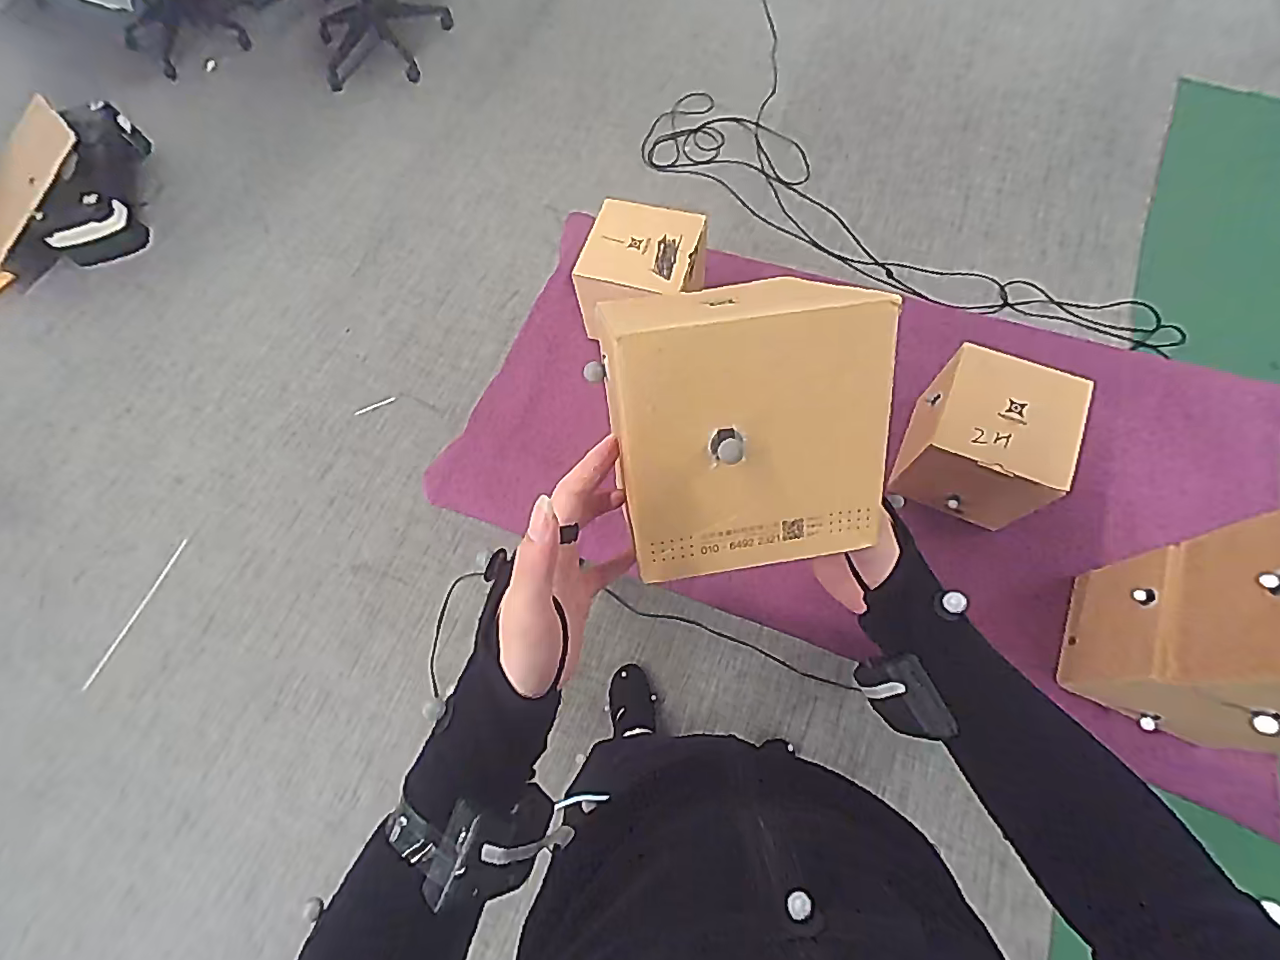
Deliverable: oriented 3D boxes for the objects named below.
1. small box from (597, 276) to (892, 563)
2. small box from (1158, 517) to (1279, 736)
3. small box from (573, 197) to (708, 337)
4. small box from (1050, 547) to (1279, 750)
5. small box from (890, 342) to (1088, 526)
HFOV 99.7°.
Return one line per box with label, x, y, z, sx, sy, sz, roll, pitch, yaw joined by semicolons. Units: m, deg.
small box;0.064;-0.050;0.408;0.168;0.176;0.179;-9;24;-4
small box;0.651;0.143;0.512;0.168;0.176;0.179;23;72;14
small box;0.008;-0.341;0.923;0.179;0.176;0.168;16;71;11
small box;0.660;0.206;0.662;0.179;0.176;0.168;23;71;13
small box;0.487;-0.059;0.779;0.168;0.176;0.179;24;73;13
